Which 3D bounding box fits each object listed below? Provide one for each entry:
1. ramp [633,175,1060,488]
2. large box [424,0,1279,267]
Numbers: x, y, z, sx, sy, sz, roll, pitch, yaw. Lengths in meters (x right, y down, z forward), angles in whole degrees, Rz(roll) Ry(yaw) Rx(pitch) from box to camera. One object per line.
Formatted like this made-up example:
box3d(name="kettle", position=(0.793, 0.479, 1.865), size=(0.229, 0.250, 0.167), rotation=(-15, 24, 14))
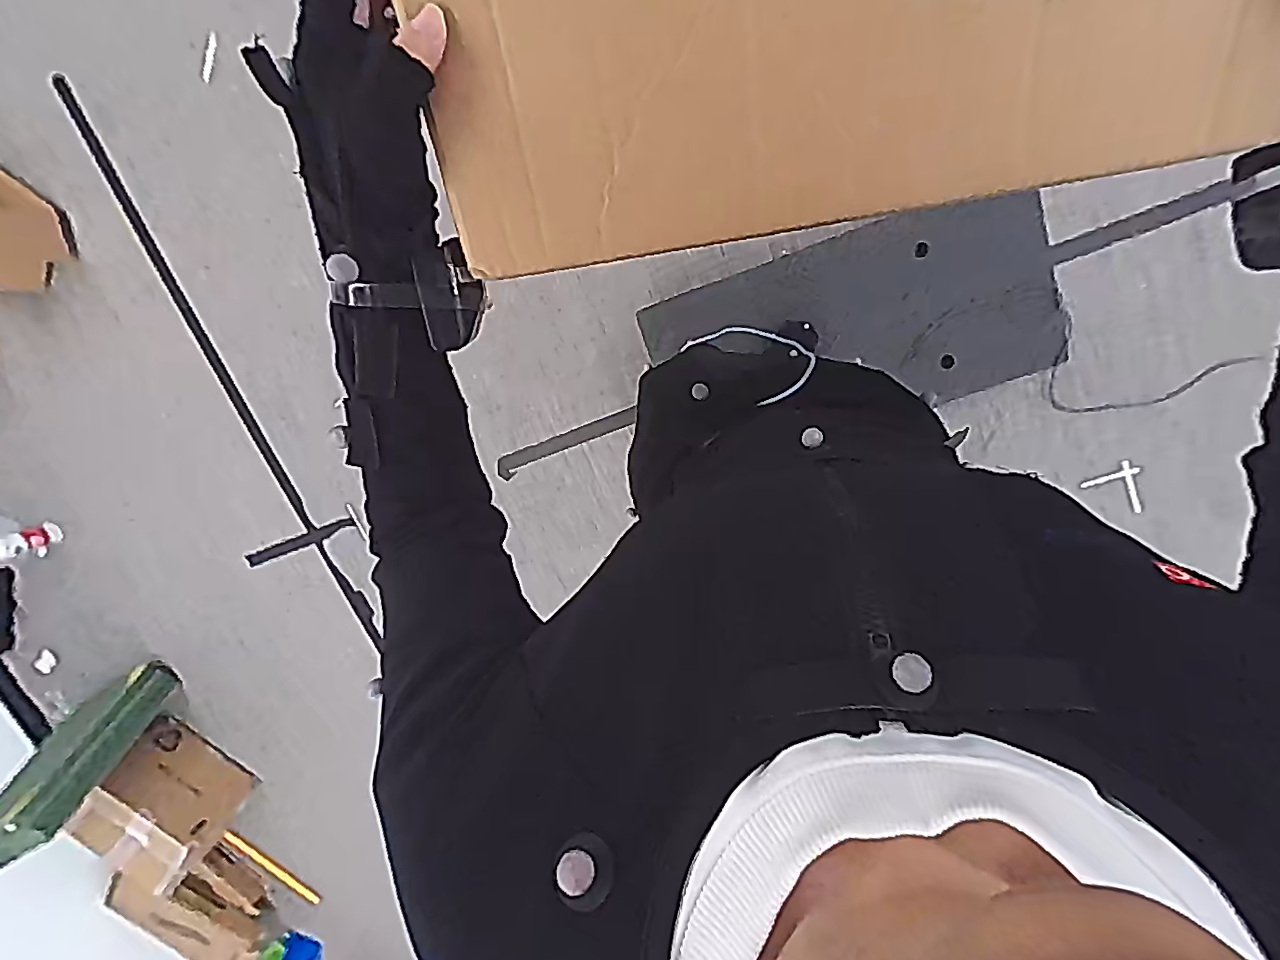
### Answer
box3d(name="ramp", position=(0.526, -0.366, 1.378), size=(0.991, 0.206, 0.509), rotation=(-19, 101, 15))
box3d(name="large box", position=(0.094, -0.349, 0.365), size=(0.408, 0.320, 0.320), rotation=(-6, 115, 9))
